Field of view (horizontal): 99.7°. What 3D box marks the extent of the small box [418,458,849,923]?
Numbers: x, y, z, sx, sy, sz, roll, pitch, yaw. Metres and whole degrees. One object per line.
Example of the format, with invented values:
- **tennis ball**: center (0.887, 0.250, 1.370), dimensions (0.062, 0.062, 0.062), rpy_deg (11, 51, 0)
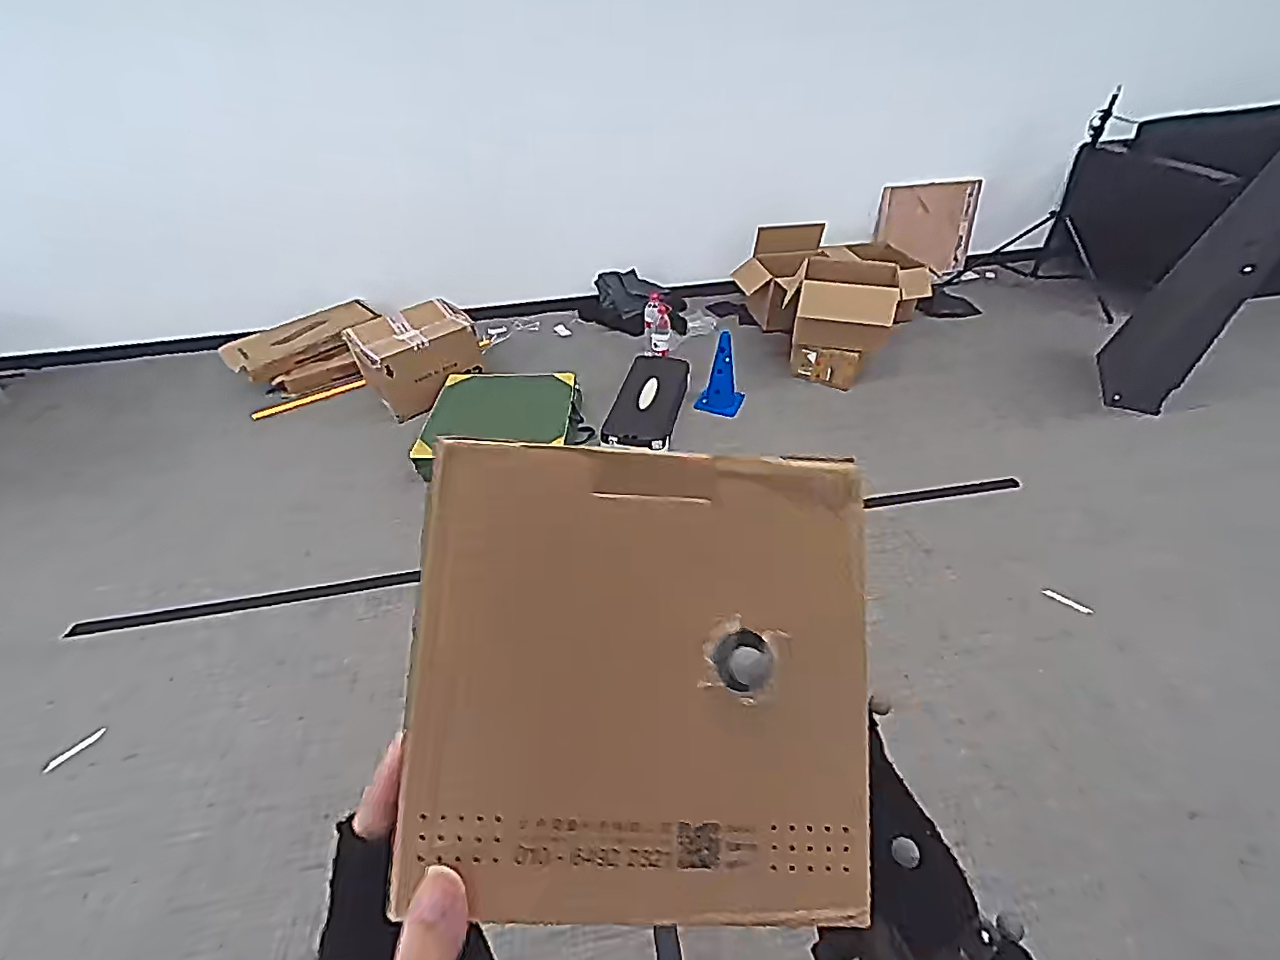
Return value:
- **small box**: center (-0.001, 0.087, 0.281), dimensions (0.168, 0.179, 0.176), rpy_deg (2, 82, 0)
